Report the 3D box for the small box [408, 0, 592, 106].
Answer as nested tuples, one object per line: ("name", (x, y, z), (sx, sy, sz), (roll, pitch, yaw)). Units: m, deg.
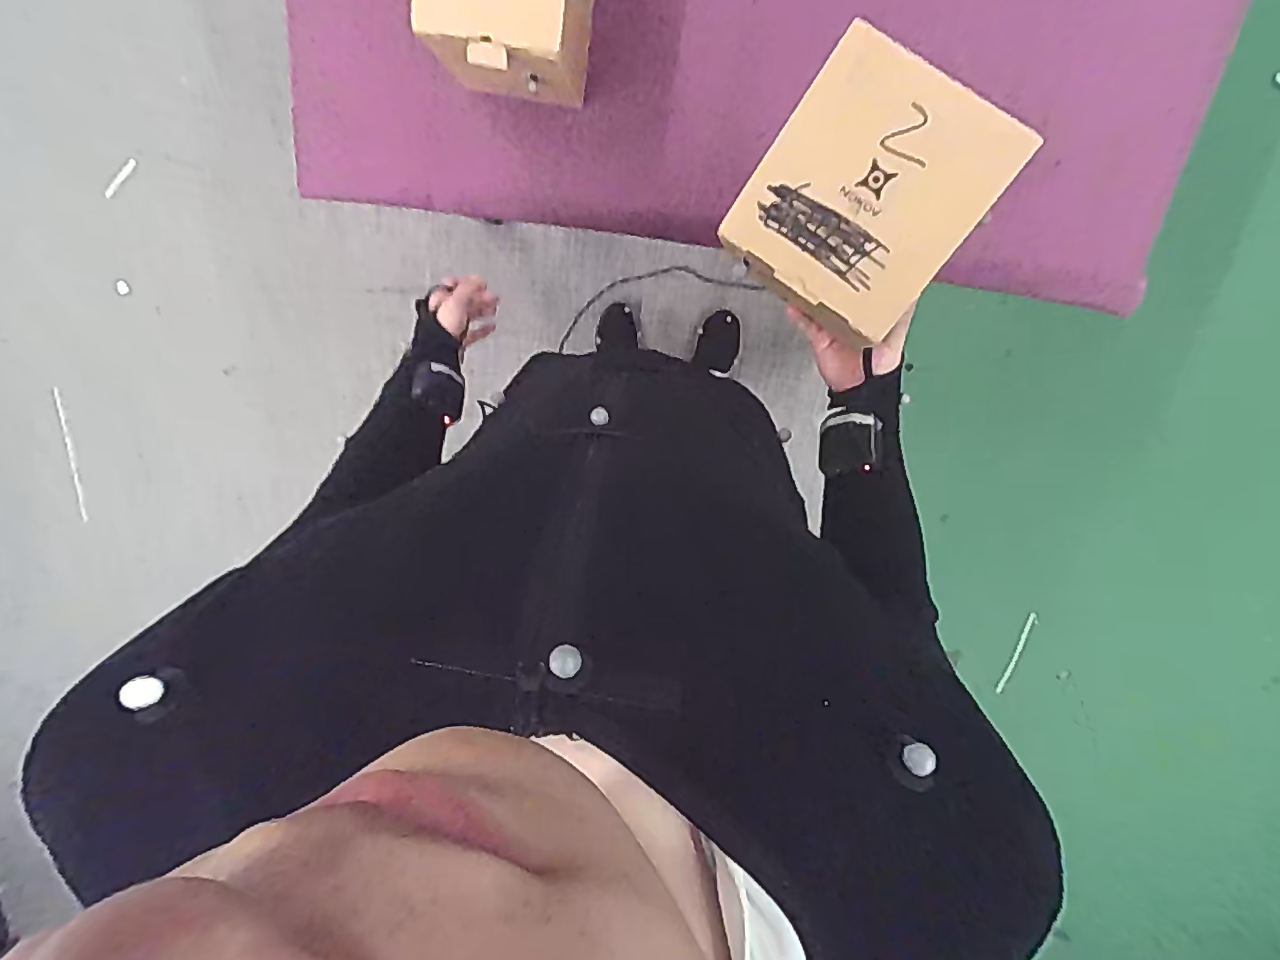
("small box", (-0.152, -0.575, 0.636), (0.168, 0.176, 0.179), (11, 108, -1))
